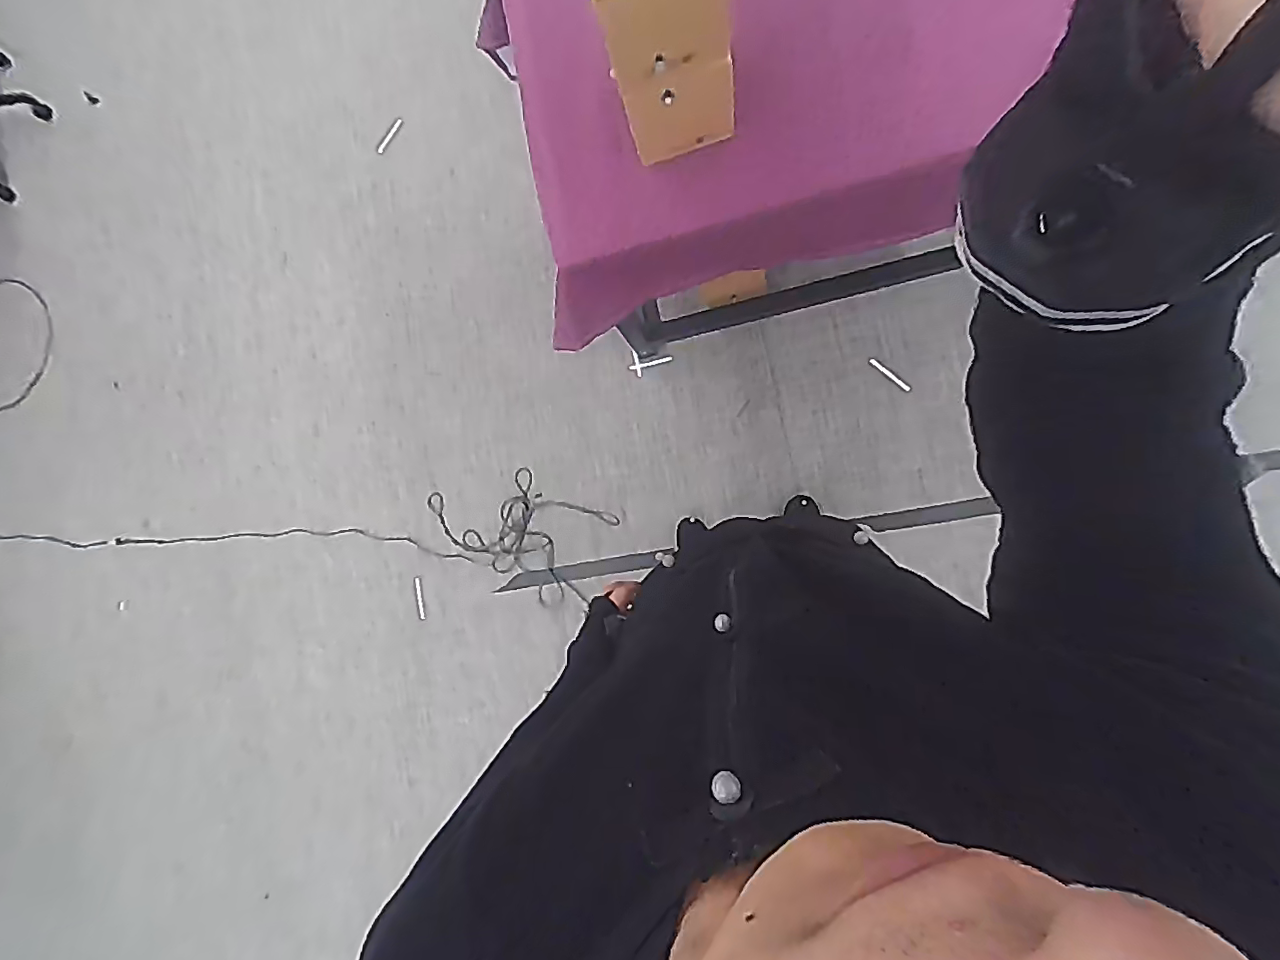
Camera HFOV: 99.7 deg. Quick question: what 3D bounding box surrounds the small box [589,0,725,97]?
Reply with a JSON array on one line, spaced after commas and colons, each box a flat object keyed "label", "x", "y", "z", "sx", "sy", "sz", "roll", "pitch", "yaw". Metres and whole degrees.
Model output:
[{"label": "small box", "x": 0.011, "y": -0.665, "z": 0.713, "sx": 0.168, "sy": 0.176, "sz": 0.179, "roll": -15, "pitch": 85, "yaw": 10}]

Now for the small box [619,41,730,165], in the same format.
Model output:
[{"label": "small box", "x": 0.047, "y": -0.657, "z": 0.872, "sx": 0.168, "sy": 0.176, "sz": 0.179, "roll": -14, "pitch": 85, "yaw": 10}]
